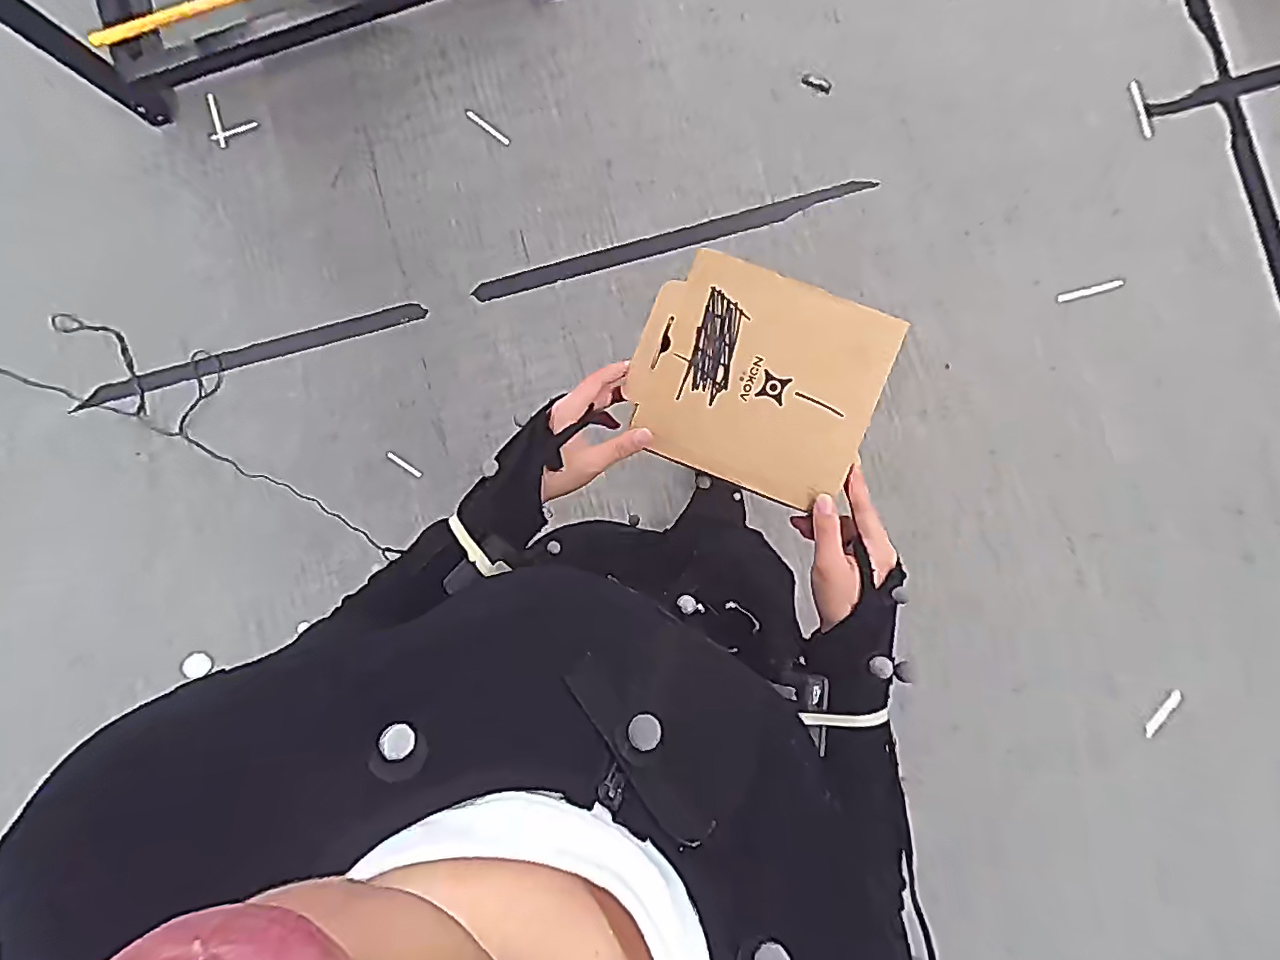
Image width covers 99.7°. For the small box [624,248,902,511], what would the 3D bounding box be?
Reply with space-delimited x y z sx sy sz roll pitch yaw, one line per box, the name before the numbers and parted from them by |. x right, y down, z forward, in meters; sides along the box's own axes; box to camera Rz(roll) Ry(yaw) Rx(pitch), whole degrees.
small box | 0.100 -0.081 0.506 0.179 0.176 0.168 21 93 3
